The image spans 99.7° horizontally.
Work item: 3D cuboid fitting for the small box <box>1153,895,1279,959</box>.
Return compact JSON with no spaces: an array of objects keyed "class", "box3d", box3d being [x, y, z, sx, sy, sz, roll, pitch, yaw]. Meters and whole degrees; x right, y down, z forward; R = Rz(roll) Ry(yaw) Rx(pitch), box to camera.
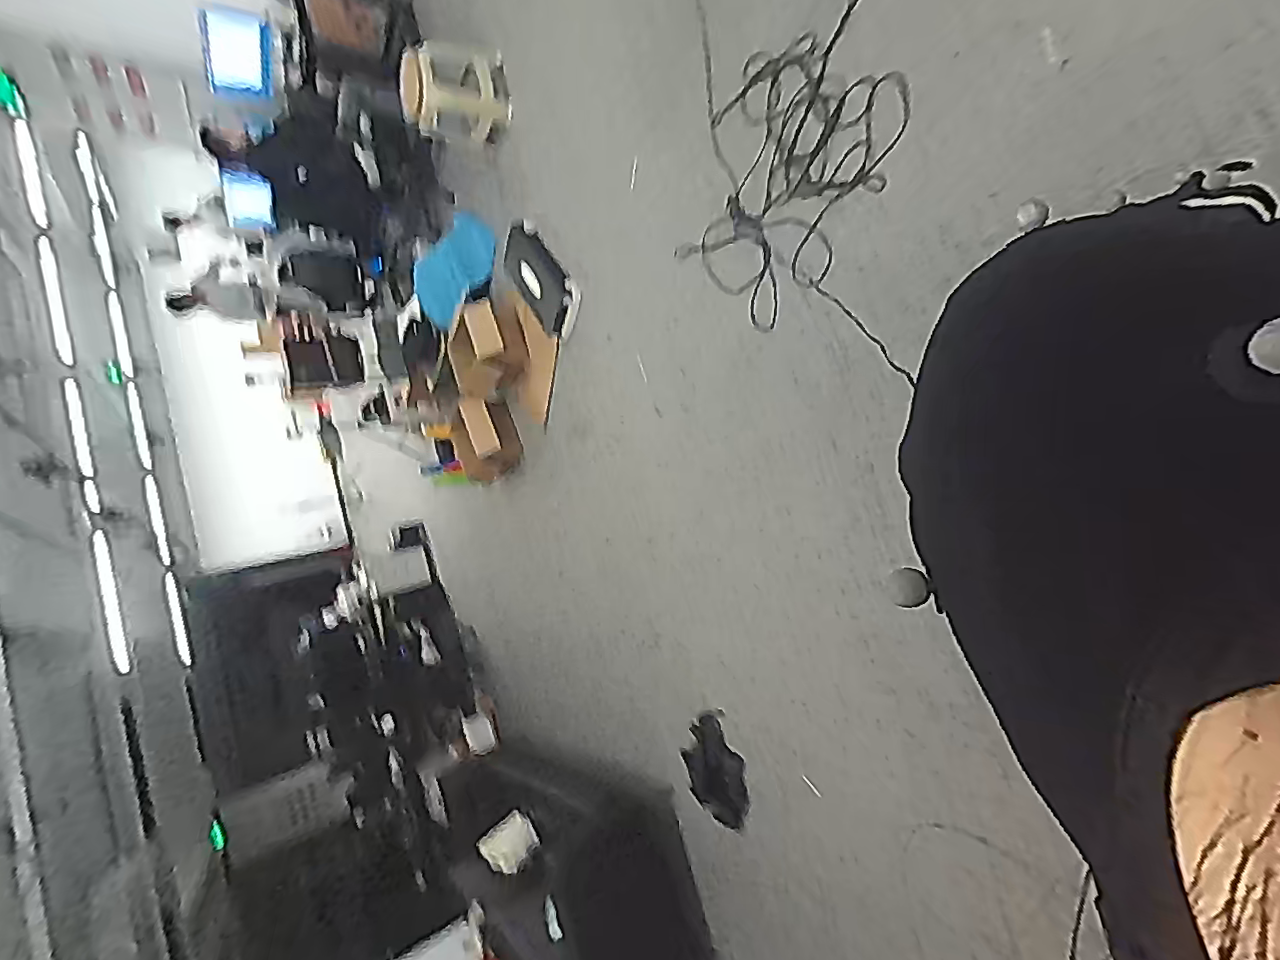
[{"class":"small box","box3d":[0.657,0.574,0.544,0.168,0.176,0.179,-31,75,55]}]
